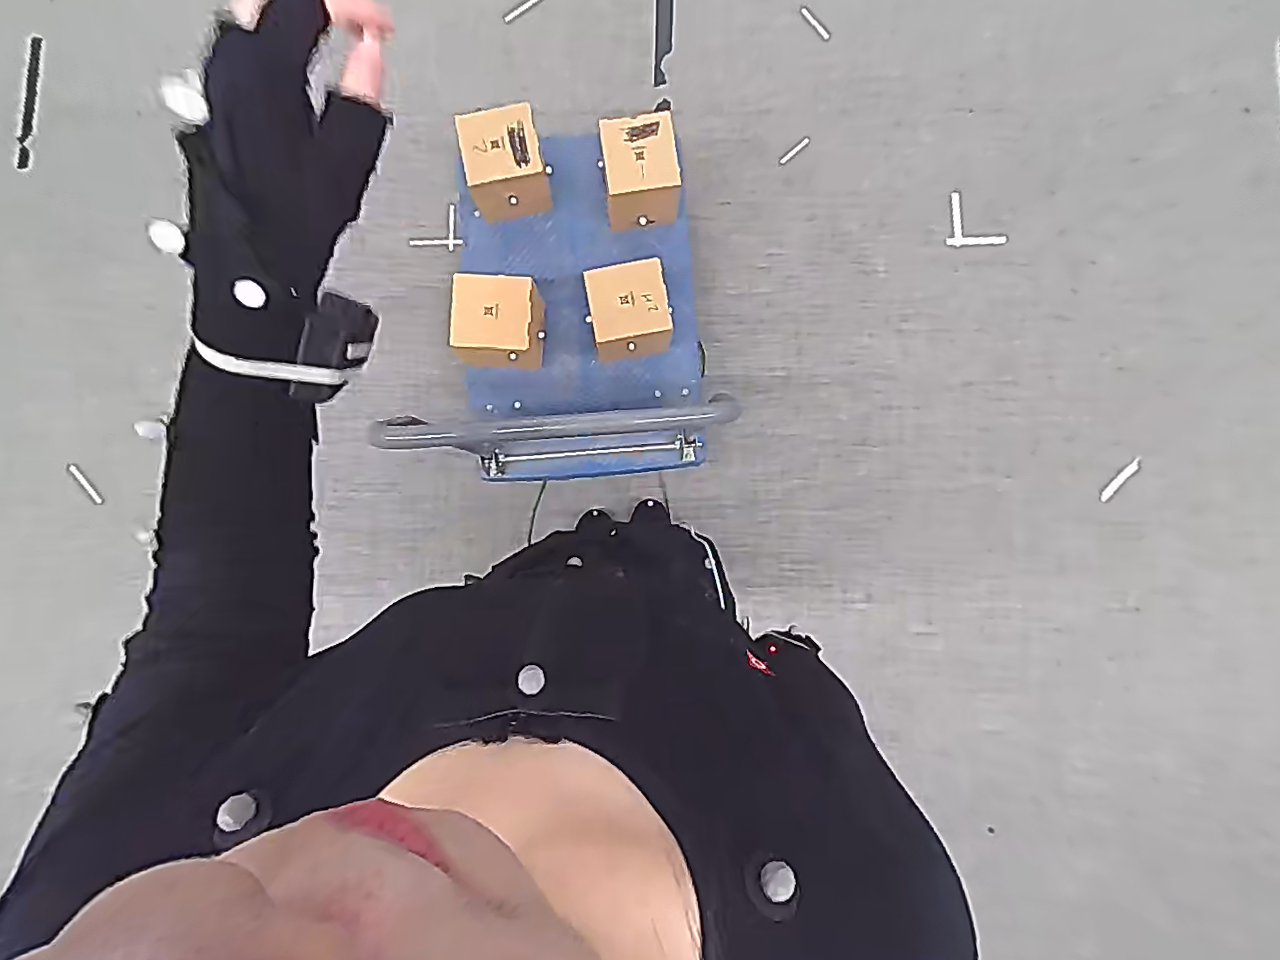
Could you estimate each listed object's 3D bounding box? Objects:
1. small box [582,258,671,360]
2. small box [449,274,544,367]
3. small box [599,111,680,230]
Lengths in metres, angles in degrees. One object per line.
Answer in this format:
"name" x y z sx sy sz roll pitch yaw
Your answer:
"small box" -0.027 -0.392 1.270 0.179 0.176 0.168 -11 87 0
"small box" -0.331 -0.367 1.271 0.179 0.176 0.168 2 87 -1
"small box" -0.002 -0.729 1.286 0.168 0.176 0.179 -8 88 0
